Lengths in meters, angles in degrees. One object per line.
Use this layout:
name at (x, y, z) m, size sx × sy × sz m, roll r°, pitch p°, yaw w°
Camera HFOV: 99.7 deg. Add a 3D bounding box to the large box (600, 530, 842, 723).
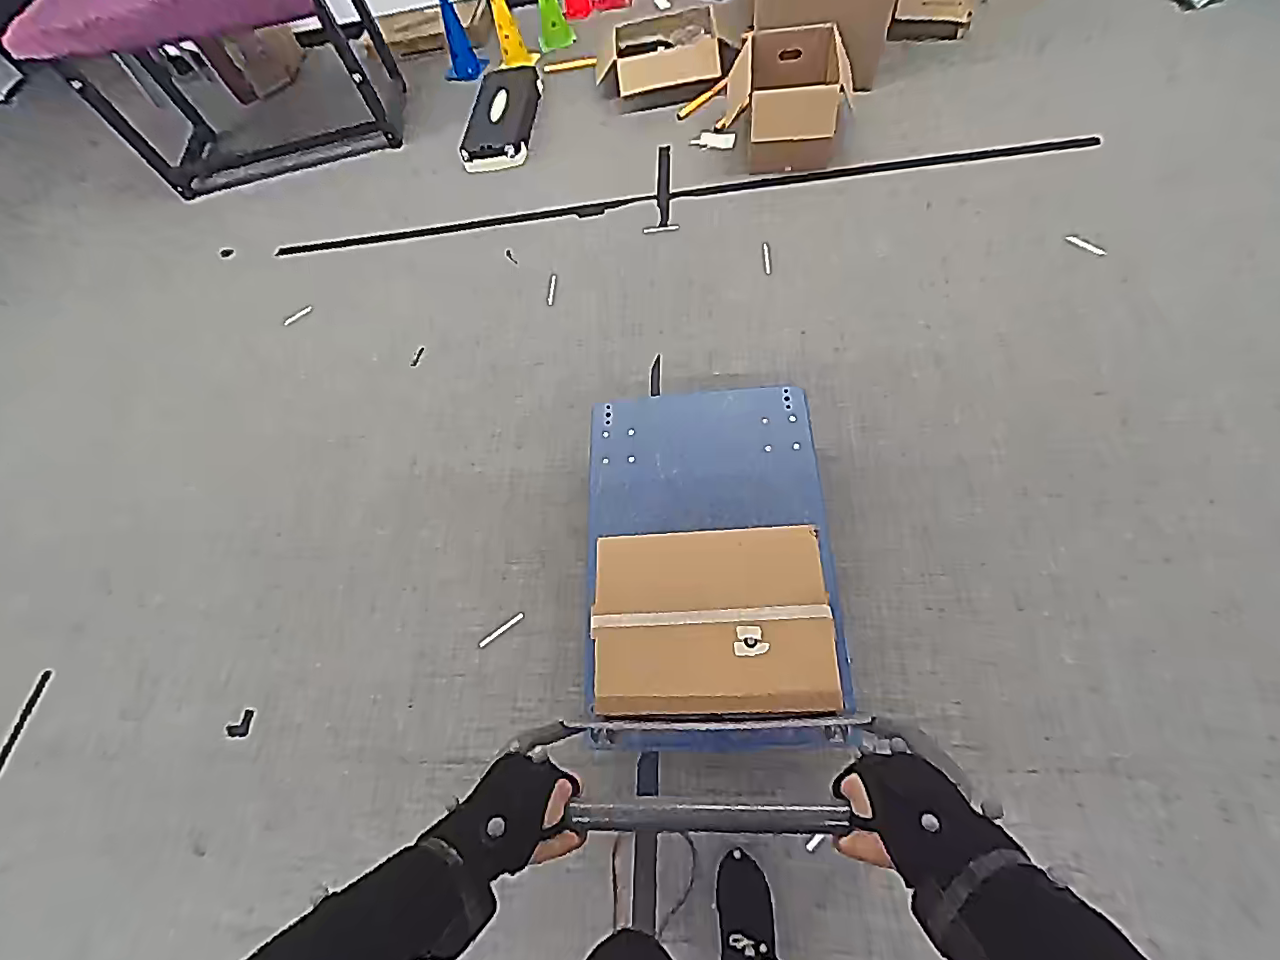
large box at (0.143, 0.310, 1.087) m, size 0.408 × 0.320 × 0.320 m, roll -5°, pitch 66°, yaw 6°
